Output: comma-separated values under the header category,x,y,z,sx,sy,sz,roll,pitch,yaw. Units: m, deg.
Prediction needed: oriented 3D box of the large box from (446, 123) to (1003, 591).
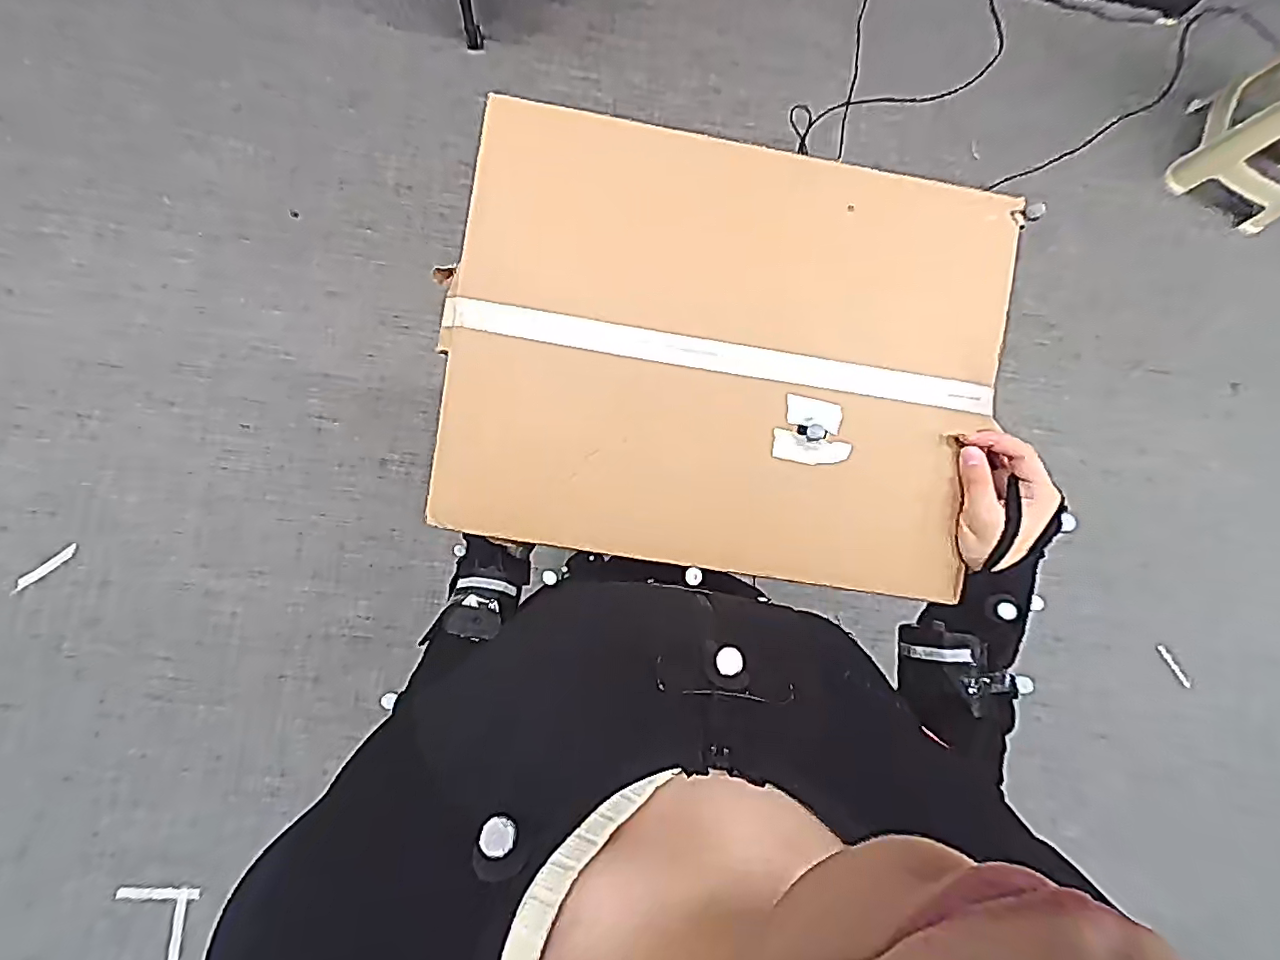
category,x,y,z,sx,sy,sz,roll,pitch,yaw
large box,0.058,-0.090,0.557,0.408,0.320,0.320,8,92,-5
